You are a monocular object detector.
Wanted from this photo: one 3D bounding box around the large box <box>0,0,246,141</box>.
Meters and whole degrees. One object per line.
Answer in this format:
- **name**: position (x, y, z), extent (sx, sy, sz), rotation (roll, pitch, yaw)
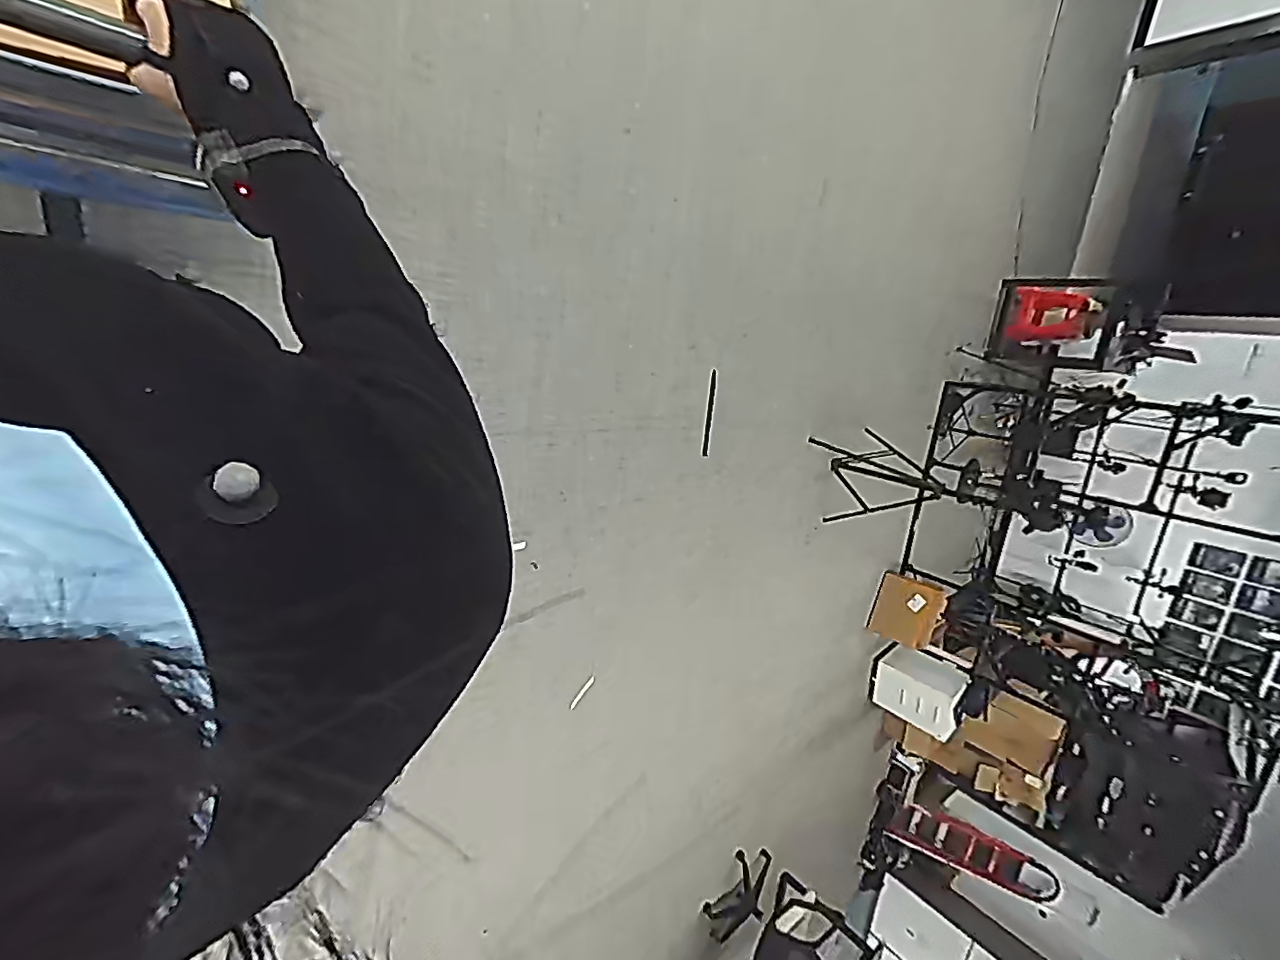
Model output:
- **large box**: position (-0.793, -0.679, 0.688), extent (0.408, 0.320, 0.320), rotation (-12, 113, -42)
